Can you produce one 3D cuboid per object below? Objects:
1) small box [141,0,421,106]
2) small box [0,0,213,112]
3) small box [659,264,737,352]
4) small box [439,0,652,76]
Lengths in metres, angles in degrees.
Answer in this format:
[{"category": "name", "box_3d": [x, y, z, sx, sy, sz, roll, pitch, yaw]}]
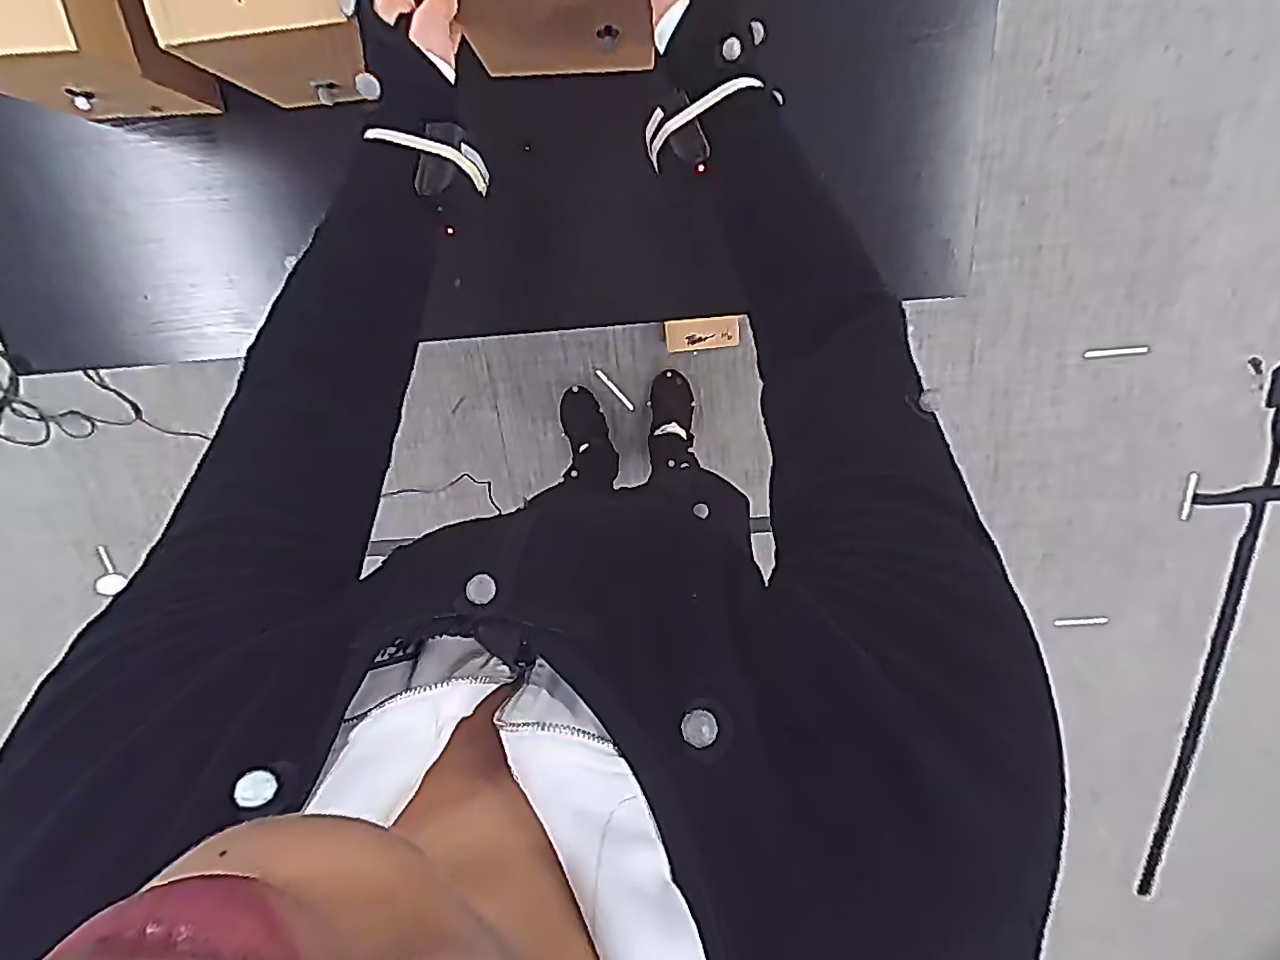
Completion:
[{"category": "small box", "box_3d": [-0.324, -0.474, 0.490, 0.168, 0.176, 0.179, -5, 110, 3]}, {"category": "small box", "box_3d": [-0.549, -0.462, 0.499, 0.168, 0.176, 0.179, -2, 109, 1]}, {"category": "small box", "box_3d": [0.132, -0.404, 1.274, 0.168, 0.176, 0.179, -5, 108, 4]}, {"category": "small box", "box_3d": [-0.079, -0.483, 0.471, 0.179, 0.176, 0.168, -2, 107, 1]}]
